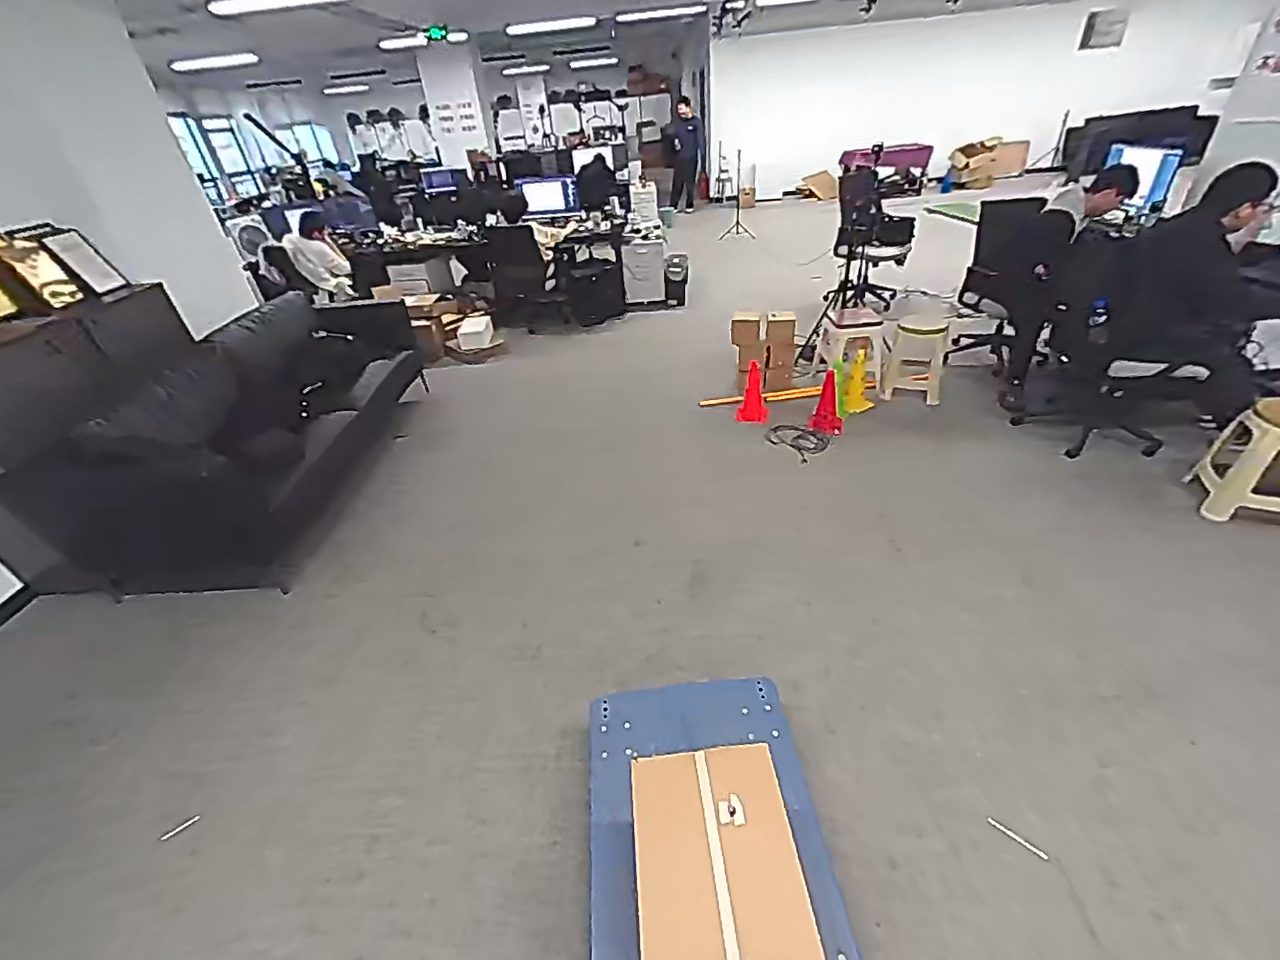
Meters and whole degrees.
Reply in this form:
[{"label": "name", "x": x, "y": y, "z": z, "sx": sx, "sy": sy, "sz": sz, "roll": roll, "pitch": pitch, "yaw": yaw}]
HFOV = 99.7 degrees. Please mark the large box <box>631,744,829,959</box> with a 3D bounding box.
[{"label": "large box", "x": 0.166, "y": 0.846, "z": 1.130, "sx": 0.320, "sy": 0.320, "sz": 0.408, "roll": -7, "pitch": 33, "yaw": 0}]
